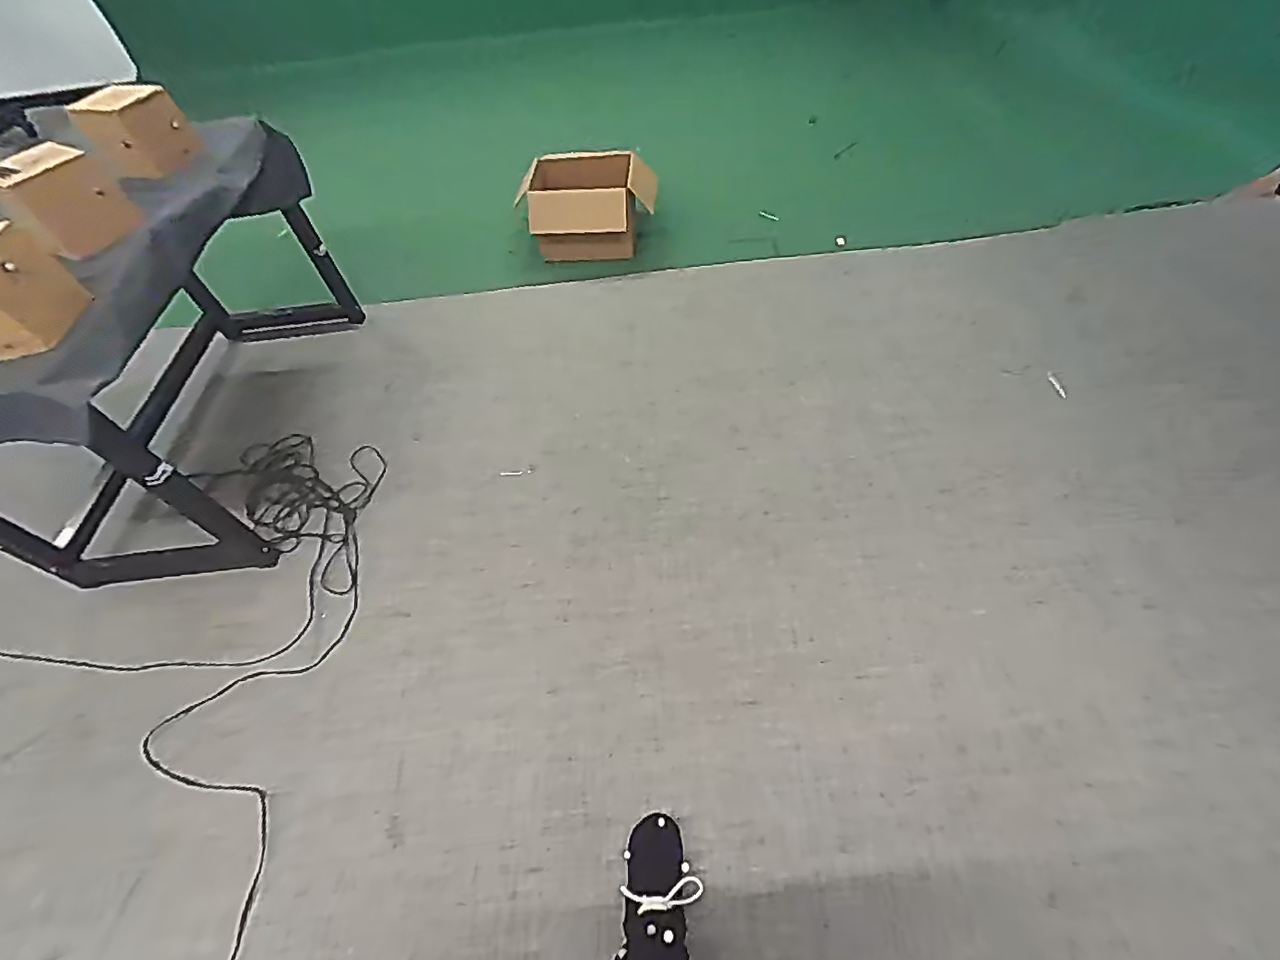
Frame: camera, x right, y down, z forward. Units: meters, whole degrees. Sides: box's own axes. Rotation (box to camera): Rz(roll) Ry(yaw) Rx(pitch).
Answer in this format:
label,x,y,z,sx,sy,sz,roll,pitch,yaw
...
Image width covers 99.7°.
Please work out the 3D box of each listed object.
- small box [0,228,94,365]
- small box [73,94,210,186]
label,x,y,z,sx,sy,sz,roll,pitch,yaw
small box,-1.209,-0.341,1.021,0.168,0.176,0.179,-11,53,1
small box,-1.342,-0.921,1.472,0.179,0.176,0.168,8,54,13
